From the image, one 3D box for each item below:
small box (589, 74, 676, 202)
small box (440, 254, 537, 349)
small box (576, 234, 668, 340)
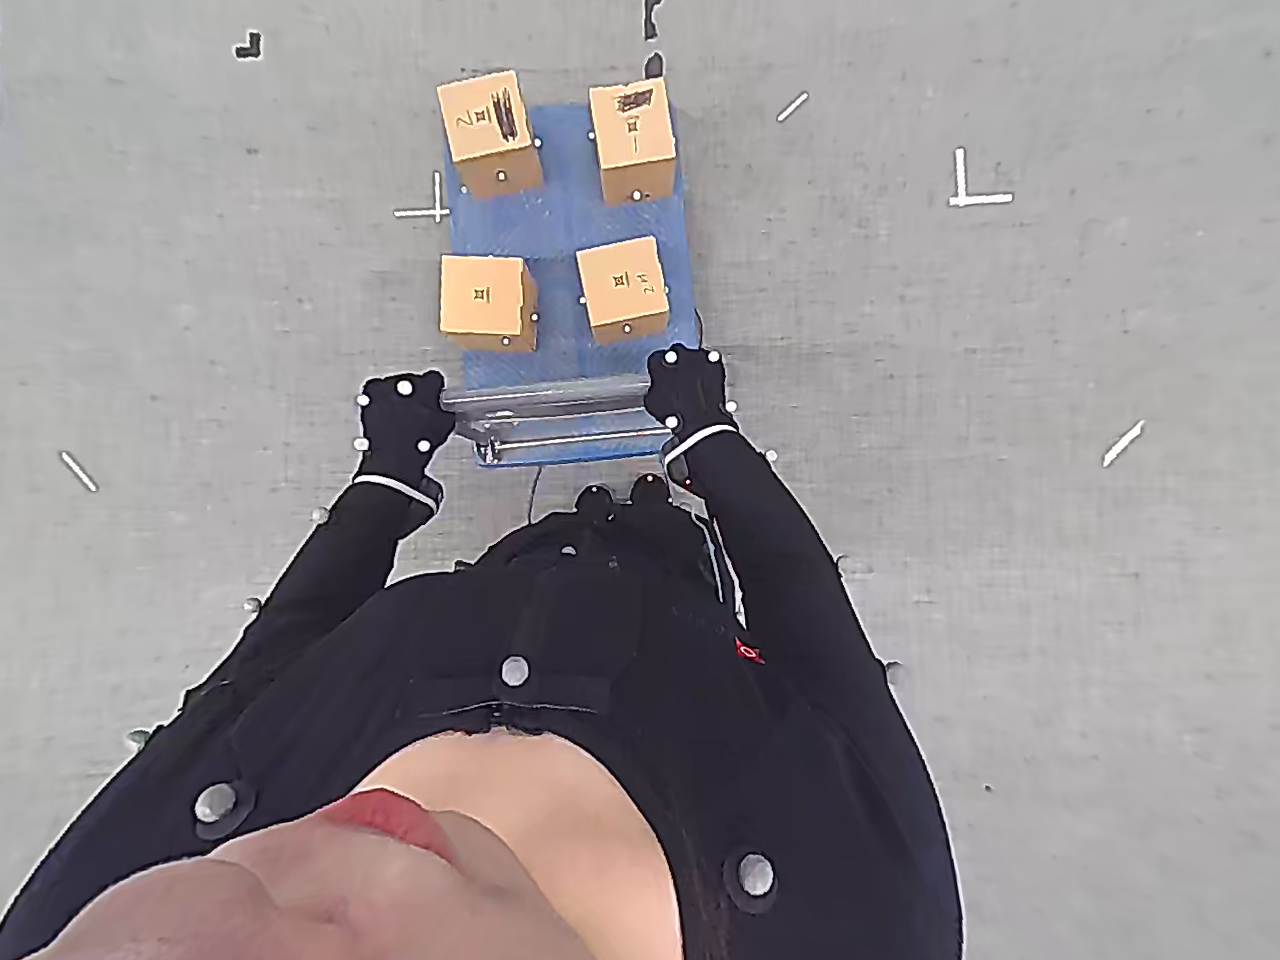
[{"bbox_3d":[-0.017,-0.767,1.229,0.168,0.176,0.179,-9,92,0],"label":"small box"},{"bbox_3d":[-0.339,-0.400,1.235,0.179,0.176,0.168,1,90,-1],"label":"small box"},{"bbox_3d":[-0.037,-0.430,1.233,0.179,0.176,0.168,-12,91,0],"label":"small box"}]
